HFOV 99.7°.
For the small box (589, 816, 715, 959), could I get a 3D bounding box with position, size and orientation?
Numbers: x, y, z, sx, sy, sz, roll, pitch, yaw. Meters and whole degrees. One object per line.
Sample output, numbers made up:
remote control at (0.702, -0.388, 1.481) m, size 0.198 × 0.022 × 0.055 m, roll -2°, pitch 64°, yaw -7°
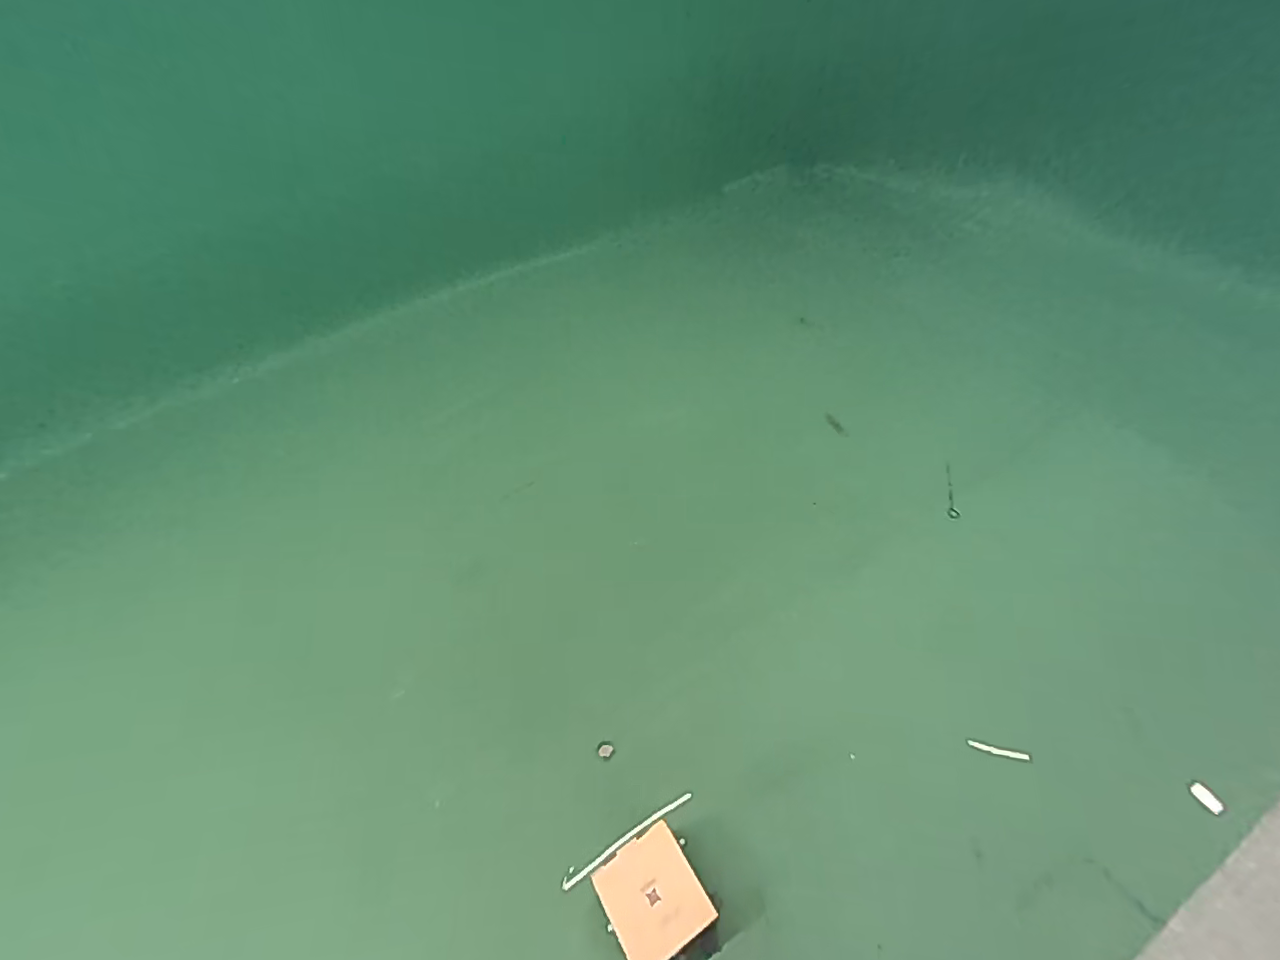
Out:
small box at (0.025, 0.782, 1.021) m, size 0.168 × 0.176 × 0.179 m, roll -30°, pitch 54°, yaw -16°
